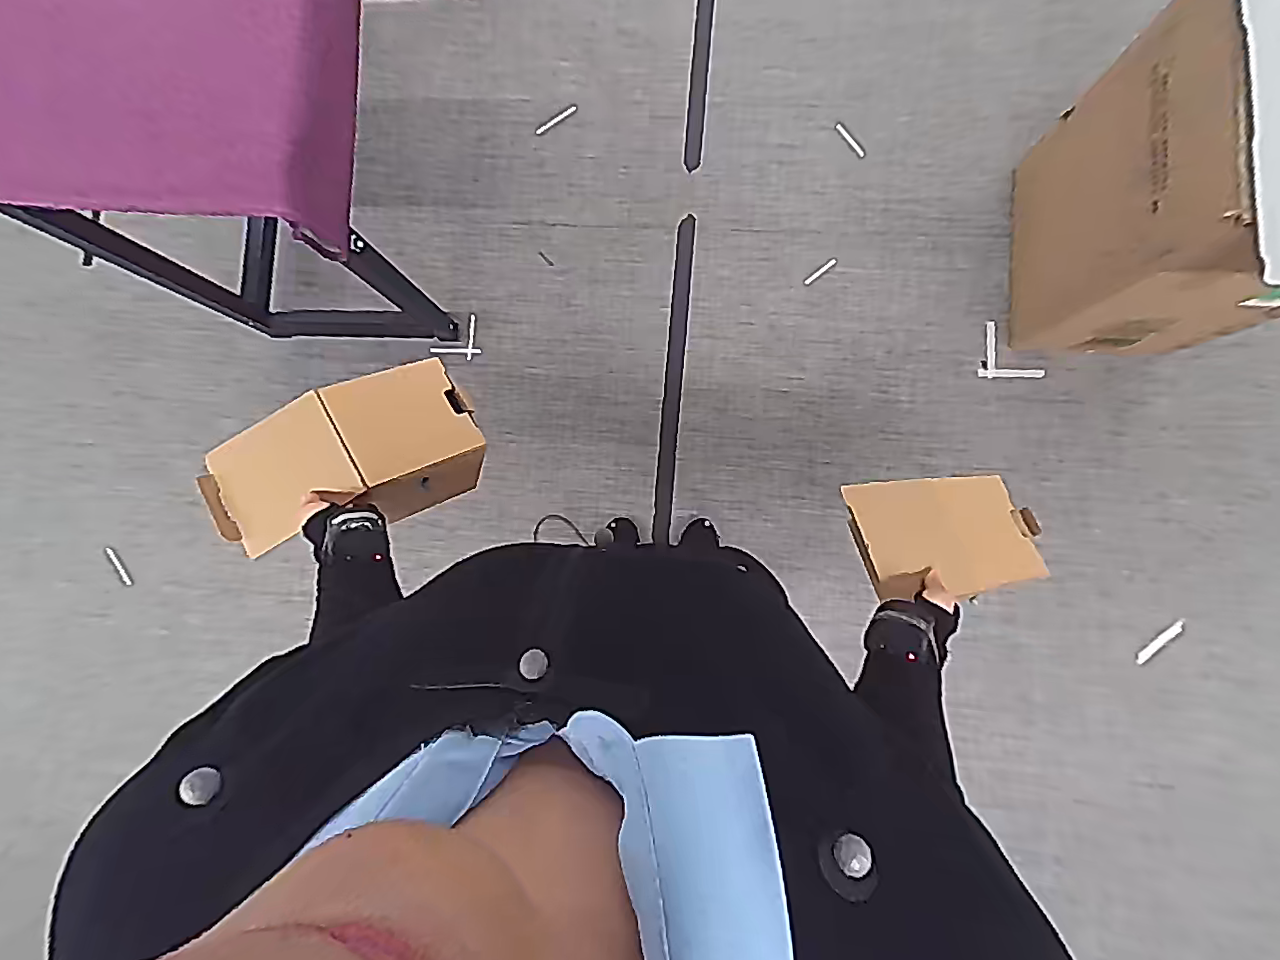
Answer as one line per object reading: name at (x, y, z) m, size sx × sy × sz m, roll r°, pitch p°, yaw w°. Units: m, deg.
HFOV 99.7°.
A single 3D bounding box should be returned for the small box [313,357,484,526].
small box at (-0.359, -0.053, 0.817) m, size 0.179 × 0.176 × 0.168 m, roll -26°, pitch 79°, yaw -32°
